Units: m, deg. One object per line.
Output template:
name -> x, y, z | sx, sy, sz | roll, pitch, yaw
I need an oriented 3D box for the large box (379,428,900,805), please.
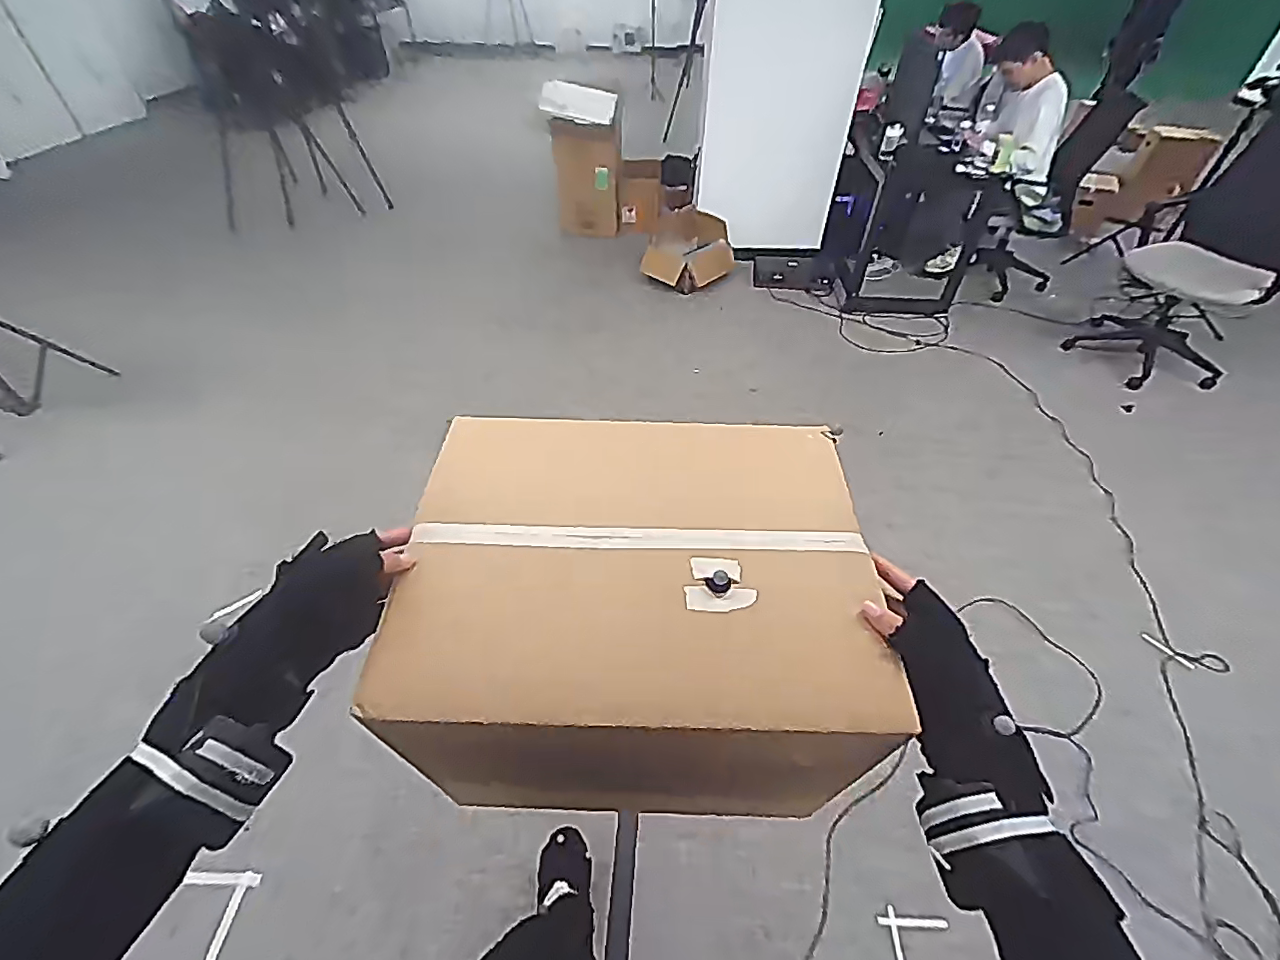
large box -> -0.003, 0.160, 0.613 | 0.408, 0.320, 0.320 | 2, 49, 0
